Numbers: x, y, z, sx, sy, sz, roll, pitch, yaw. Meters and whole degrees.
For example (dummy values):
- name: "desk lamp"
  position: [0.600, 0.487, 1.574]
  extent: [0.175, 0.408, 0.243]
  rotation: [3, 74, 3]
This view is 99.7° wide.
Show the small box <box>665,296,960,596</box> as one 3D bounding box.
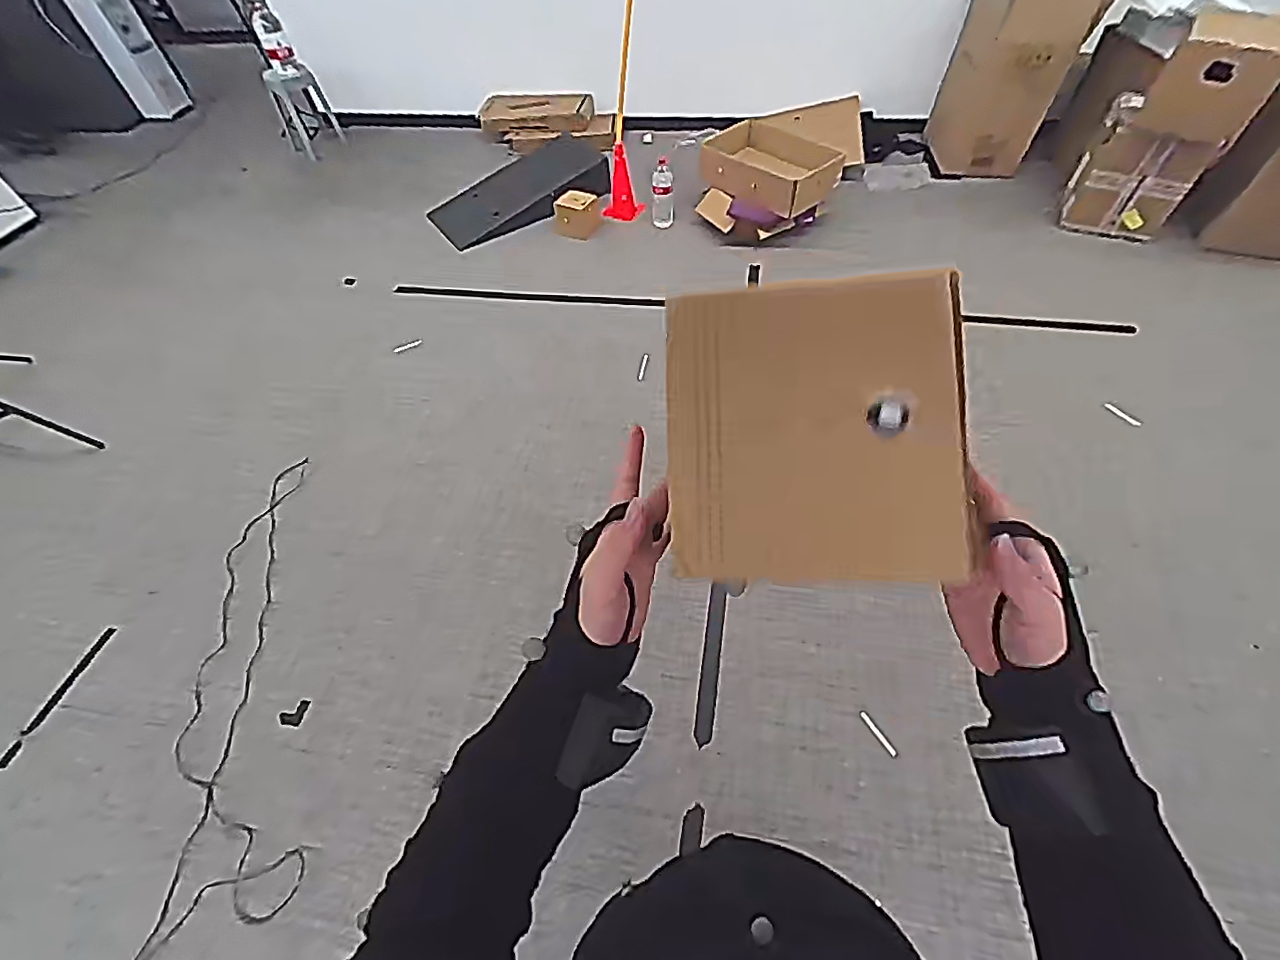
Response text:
- name: "small box"
  position: [0.113, -0.020, 0.399]
  extent: [0.176, 0.168, 0.179]
  rotation: [-1, 93, 13]
